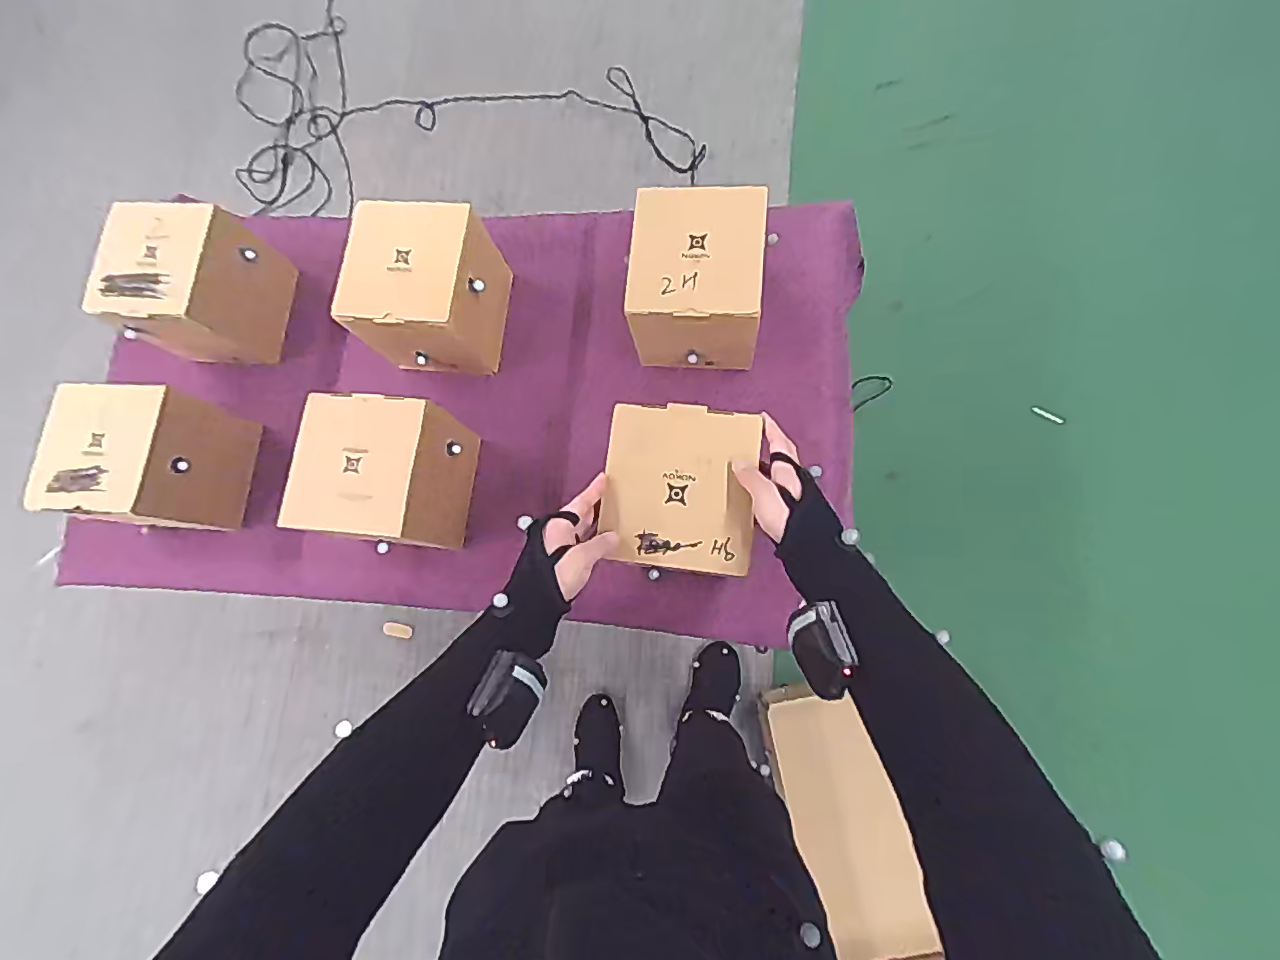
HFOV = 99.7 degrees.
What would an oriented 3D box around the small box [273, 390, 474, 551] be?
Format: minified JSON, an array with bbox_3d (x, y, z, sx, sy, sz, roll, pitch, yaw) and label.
[{"bbox_3d":[-0.343,-0.005,0.733,0.168,0.176,0.179,5,79,9],"label":"small box"}]

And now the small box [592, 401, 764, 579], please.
[{"bbox_3d":[0.051,0.020,0.648,0.168,0.176,0.179,6,81,10],"label":"small box"}]

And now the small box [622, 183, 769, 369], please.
[{"bbox_3d":[0.078,-0.267,0.731,0.168,0.176,0.179,4,80,10],"label":"small box"}]

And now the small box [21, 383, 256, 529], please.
[{"bbox_3d":[-0.702,-0.027,0.780,0.168,0.176,0.179,3,77,7],"label":"small box"}]

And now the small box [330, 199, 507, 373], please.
[{"bbox_3d":[-0.305,-0.273,0.784,0.168,0.176,0.179,5,81,8],"label":"small box"}]
